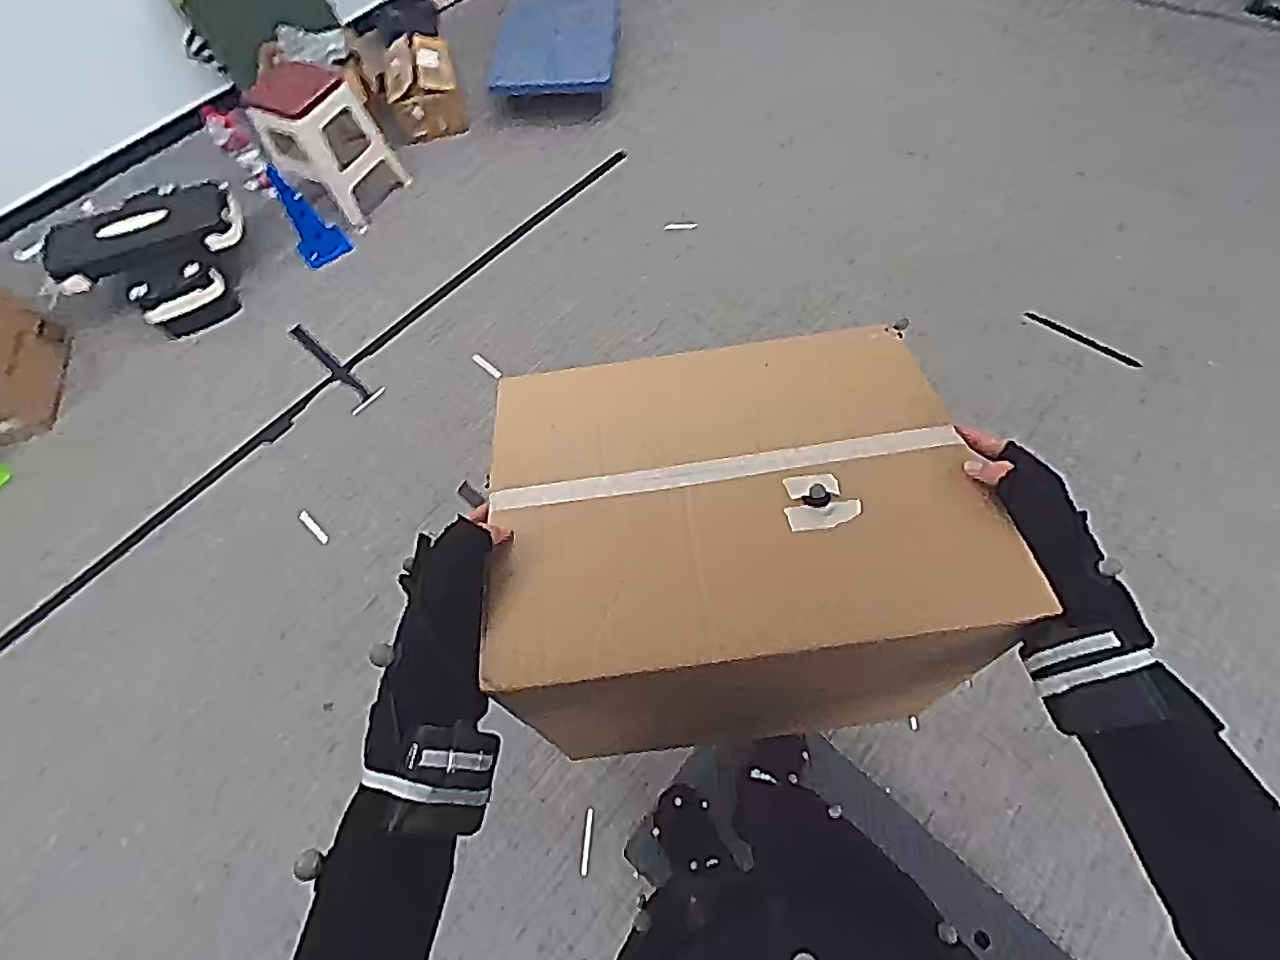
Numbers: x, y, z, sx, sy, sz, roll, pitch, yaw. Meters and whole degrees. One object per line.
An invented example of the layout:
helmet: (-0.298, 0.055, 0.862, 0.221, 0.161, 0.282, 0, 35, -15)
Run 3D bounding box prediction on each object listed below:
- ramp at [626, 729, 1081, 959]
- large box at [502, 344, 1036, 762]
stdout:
ramp: (0.495, 0.961, 1.187, 0.991, 0.206, 0.509, 35, 71, 18)
large box: (0.090, 0.093, 0.598, 0.408, 0.320, 0.320, -8, 54, 1)
